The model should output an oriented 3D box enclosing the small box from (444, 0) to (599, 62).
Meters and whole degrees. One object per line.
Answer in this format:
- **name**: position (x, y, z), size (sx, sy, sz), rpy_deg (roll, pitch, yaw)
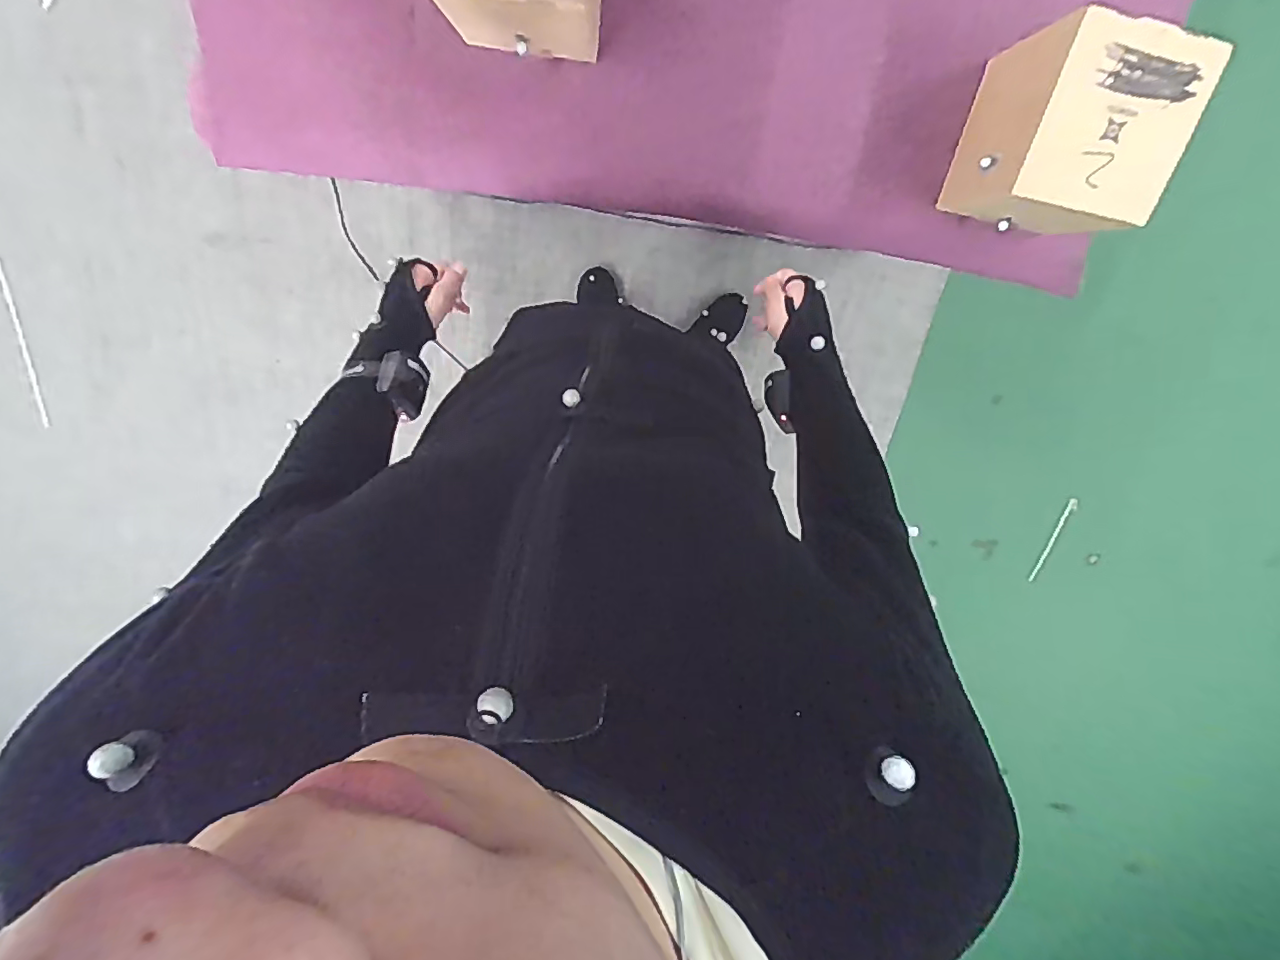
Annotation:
- **small box**: position (-0.127, -0.584, 0.571), size (0.168, 0.176, 0.179), rpy_deg (6, 113, -3)
